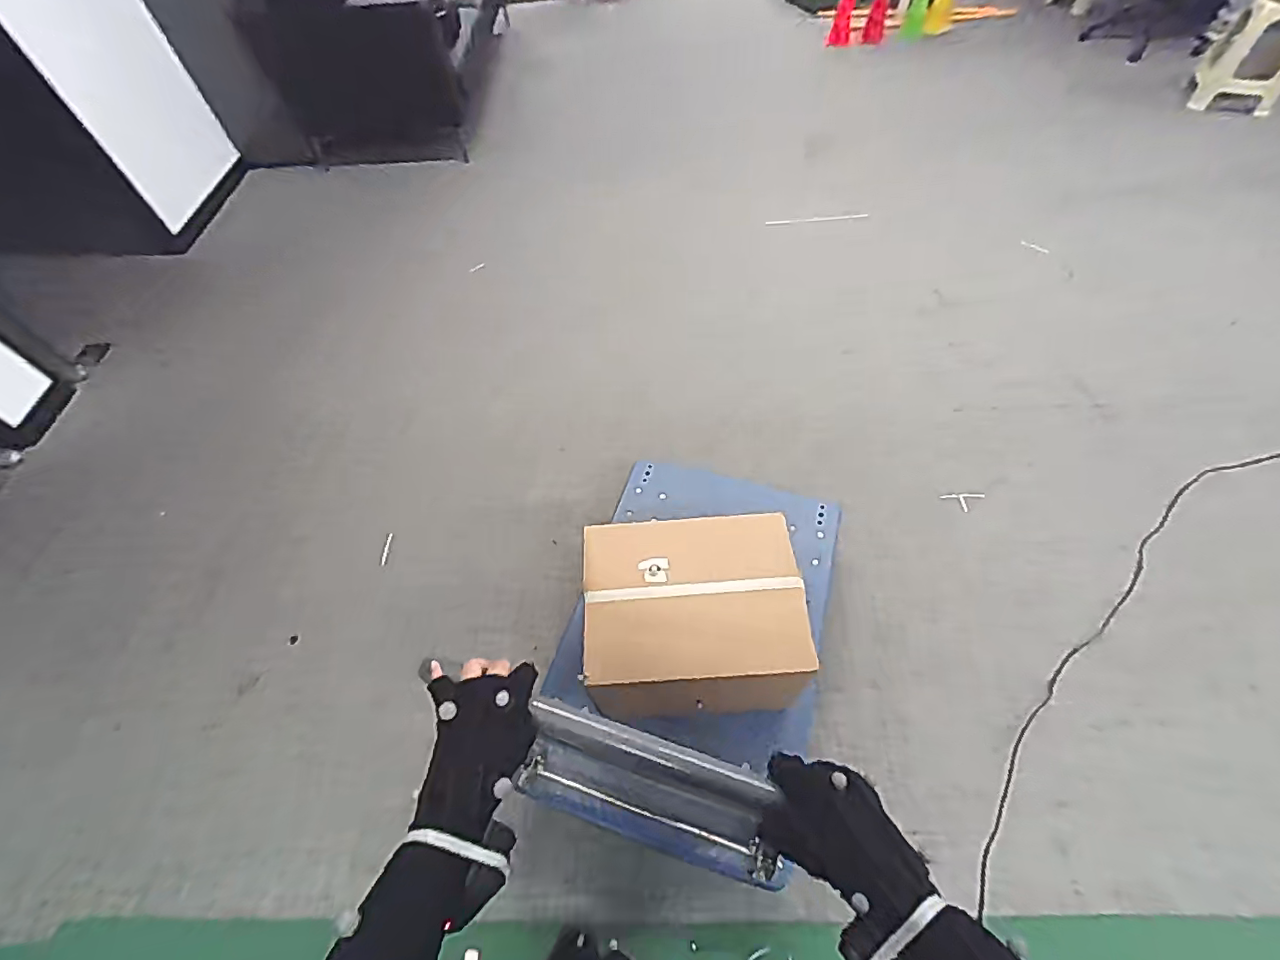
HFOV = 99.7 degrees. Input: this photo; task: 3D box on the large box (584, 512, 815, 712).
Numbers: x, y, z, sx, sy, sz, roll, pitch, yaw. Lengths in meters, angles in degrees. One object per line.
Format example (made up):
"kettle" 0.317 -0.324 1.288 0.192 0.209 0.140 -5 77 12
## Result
"large box" 0.106 0.288 1.128 0.408 0.320 0.320 -4 56 2
